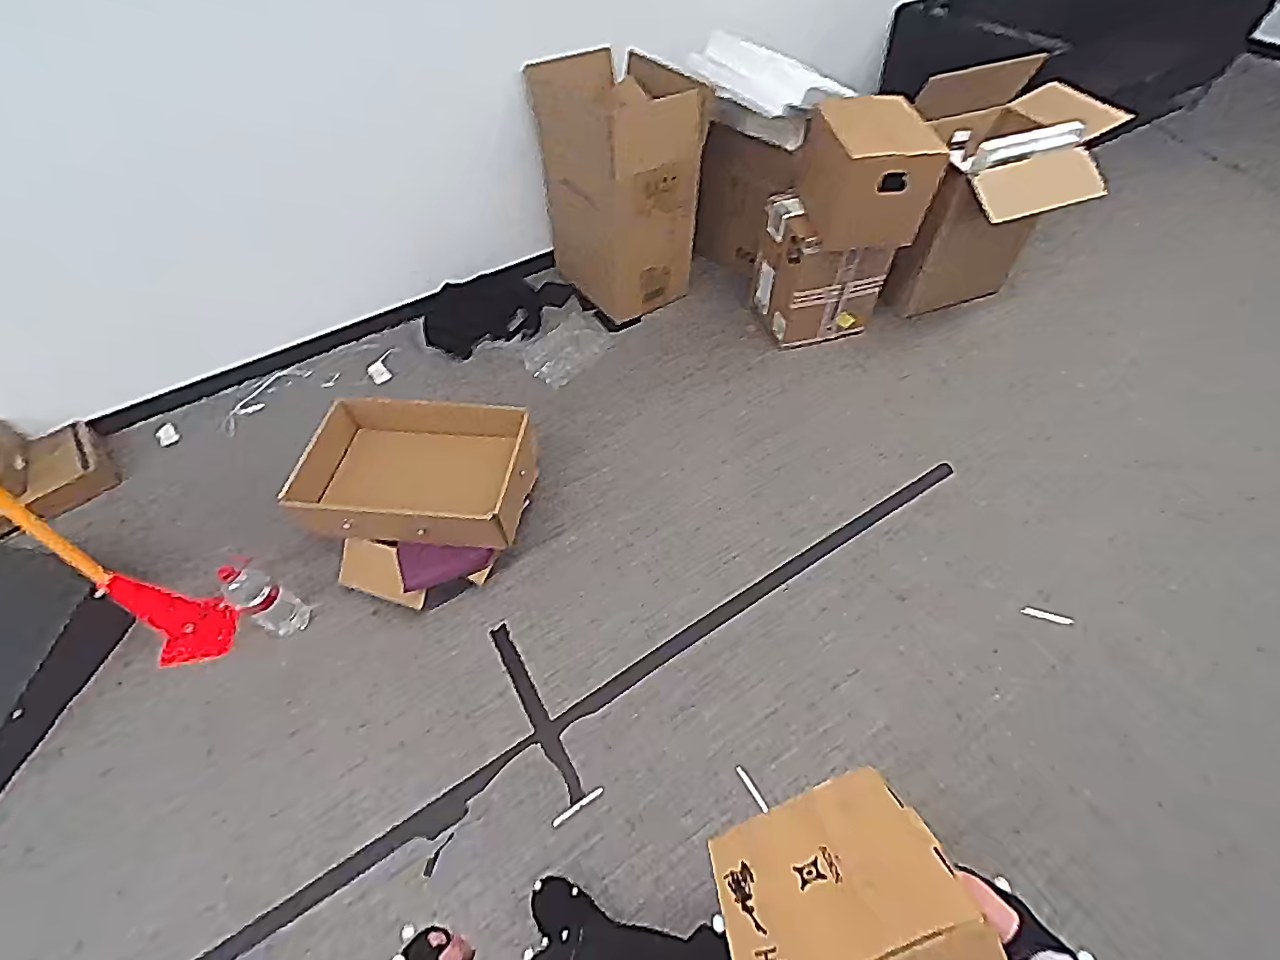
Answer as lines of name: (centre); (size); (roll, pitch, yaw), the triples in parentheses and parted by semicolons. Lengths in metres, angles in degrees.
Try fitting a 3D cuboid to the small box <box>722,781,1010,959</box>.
small box: (0.191, 0.403, 0.448); (0.179, 0.168, 0.176); (-24, 93, 0)
